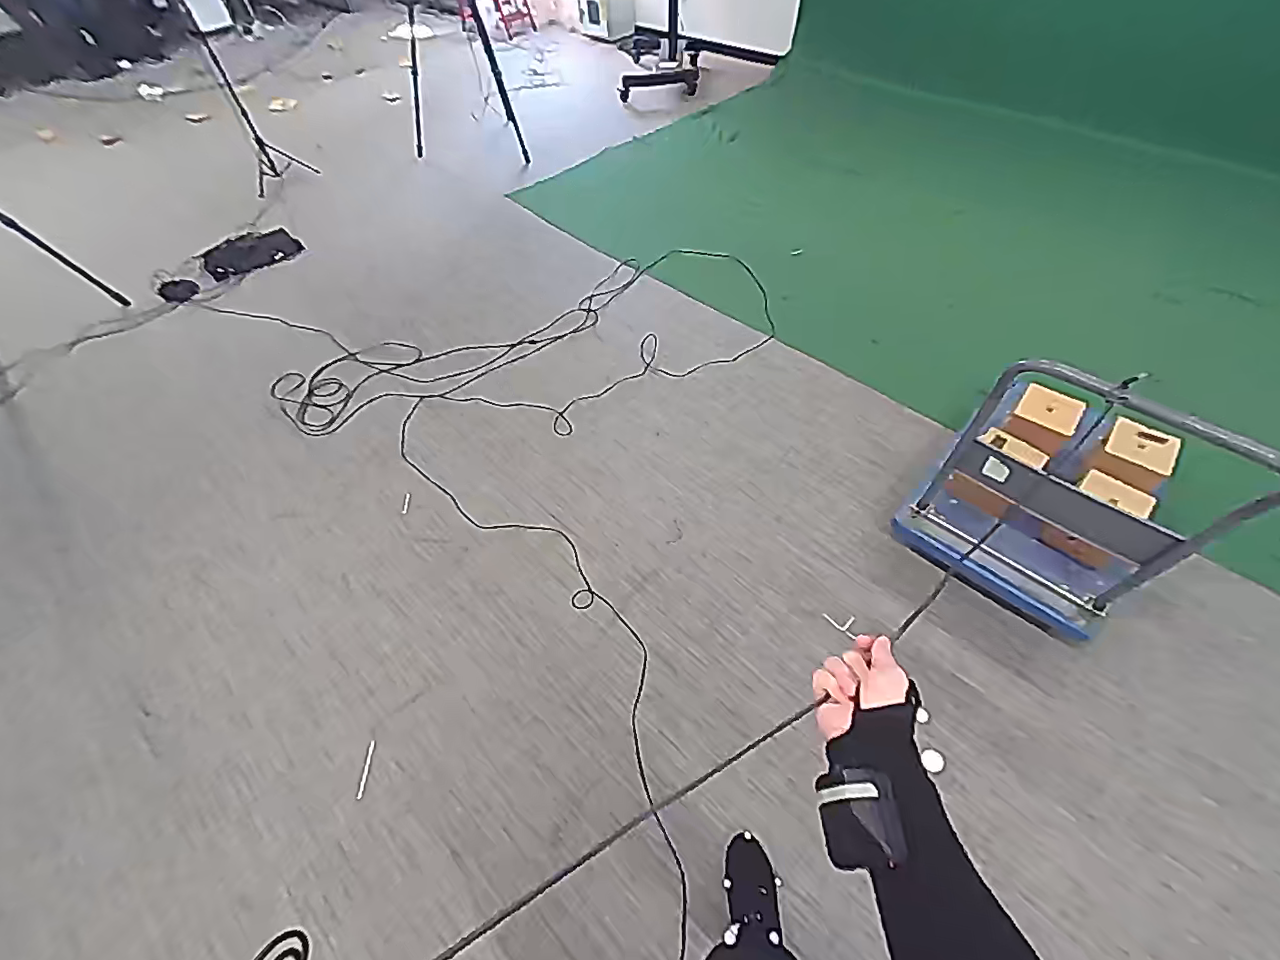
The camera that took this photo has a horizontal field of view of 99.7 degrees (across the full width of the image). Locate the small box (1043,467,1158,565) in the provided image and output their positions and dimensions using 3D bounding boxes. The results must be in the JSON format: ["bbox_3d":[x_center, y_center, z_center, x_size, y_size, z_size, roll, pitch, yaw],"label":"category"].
[{"bbox_3d":[1.293,0.104,1.529,0.168,0.176,0.179,37,64,27],"label":"small box"}]

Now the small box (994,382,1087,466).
[{"bbox_3d":[1.283,-0.178,1.745,0.168,0.176,0.179,33,61,24],"label":"small box"}]

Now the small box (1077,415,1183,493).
[{"bbox_3d":[1.478,-0.058,1.640,0.168,0.176,0.179,32,62,25],"label":"small box"}]
